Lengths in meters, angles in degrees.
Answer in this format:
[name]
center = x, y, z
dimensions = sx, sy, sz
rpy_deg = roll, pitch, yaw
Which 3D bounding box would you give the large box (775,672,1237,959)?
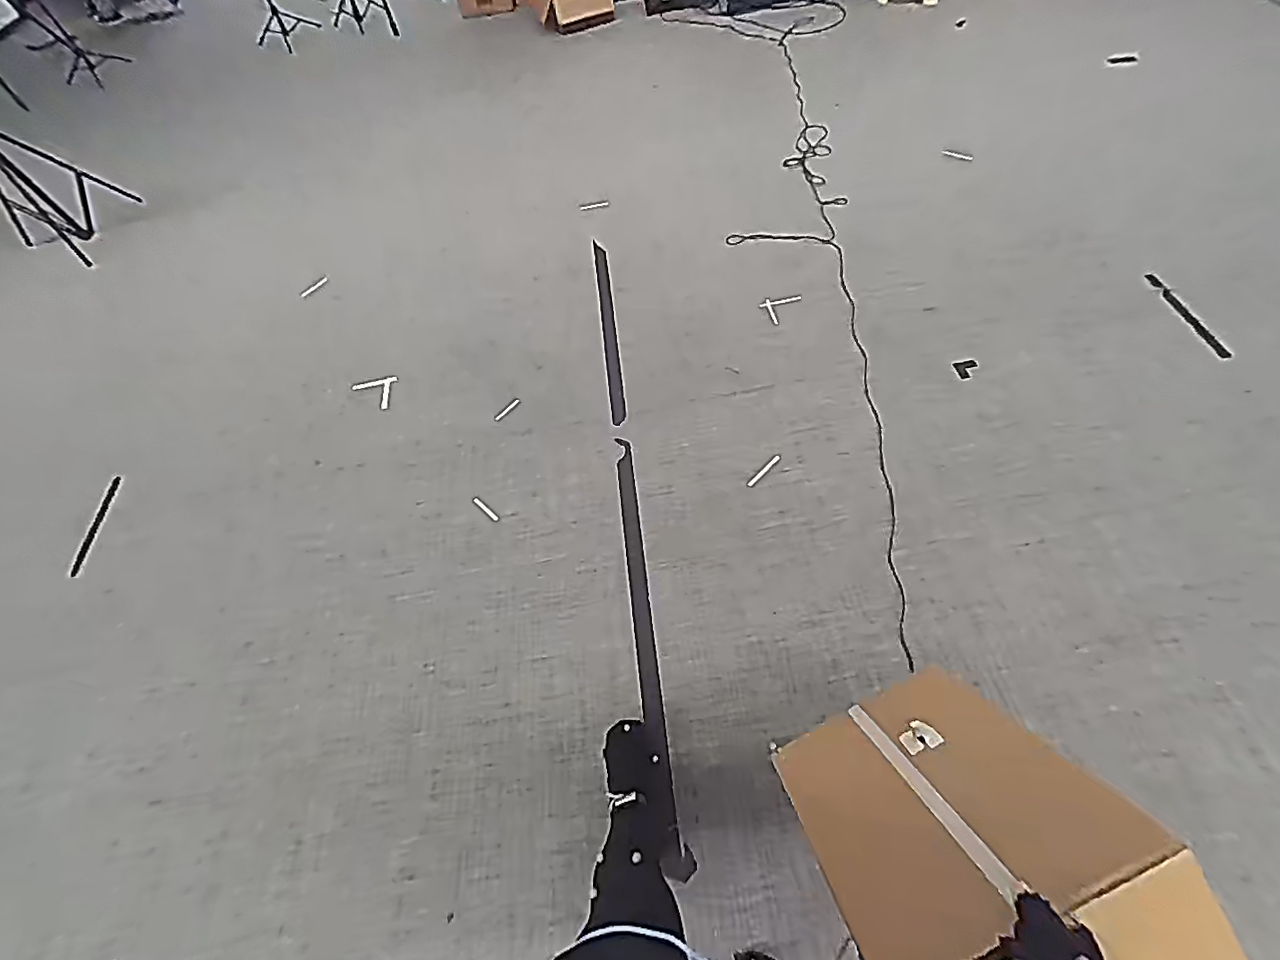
[large box]
center = 0.434, 0.530, 0.705
dimensions = 0.320, 0.408, 0.320
rpy_deg = -27, 94, 0
